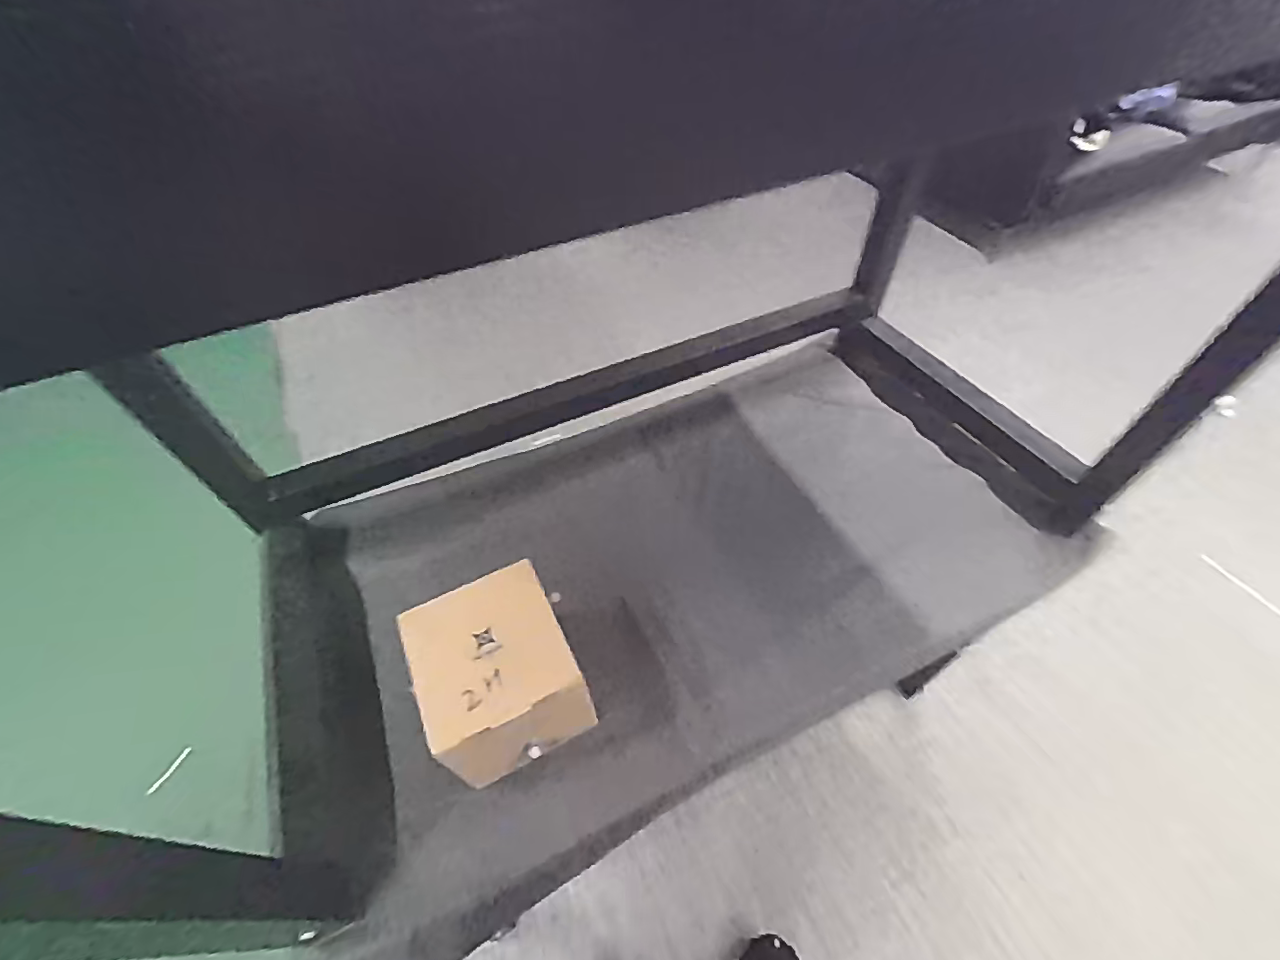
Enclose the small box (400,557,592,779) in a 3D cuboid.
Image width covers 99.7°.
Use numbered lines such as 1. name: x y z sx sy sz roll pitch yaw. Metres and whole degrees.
1. small box: -0.172 0.234 0.672 0.168 0.176 0.179 -23 53 -15
